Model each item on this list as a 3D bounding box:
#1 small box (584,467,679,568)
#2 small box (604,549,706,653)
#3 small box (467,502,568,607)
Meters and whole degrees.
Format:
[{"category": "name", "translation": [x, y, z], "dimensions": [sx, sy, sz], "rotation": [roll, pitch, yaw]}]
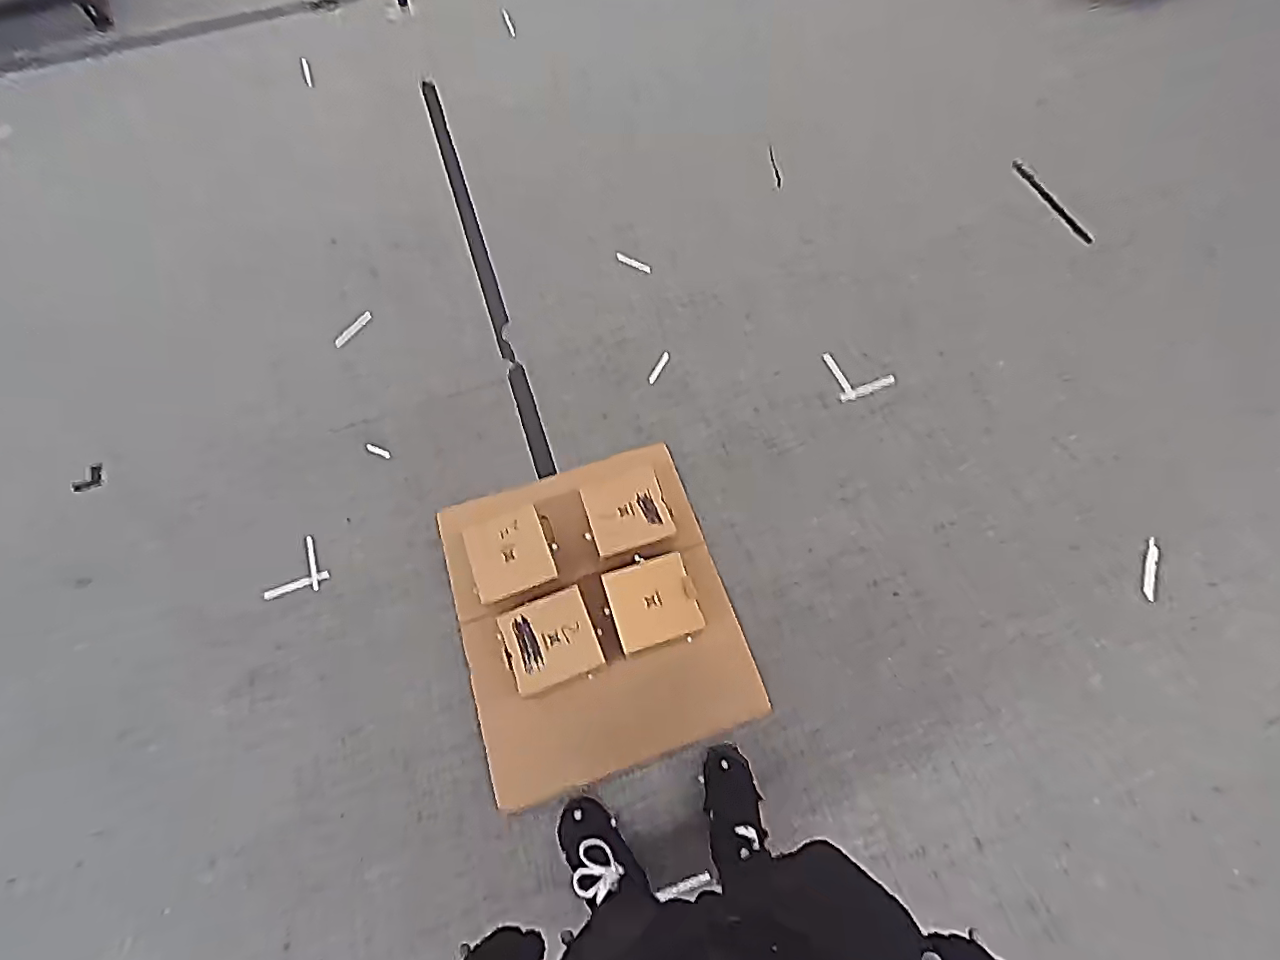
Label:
[{"category": "small box", "translation": [-0.022, 0.092, 1.258], "dimensions": [0.179, 0.176, 0.168], "rotation": [-16, 69, -6]}, {"category": "small box", "translation": [0.029, 0.270, 1.181], "dimensions": [0.179, 0.176, 0.168], "rotation": [-15, 68, -8]}, {"category": "small box", "translation": [-0.270, 0.177, 1.224], "dimensions": [0.168, 0.176, 0.179], "rotation": [-19, 69, -8]}]
